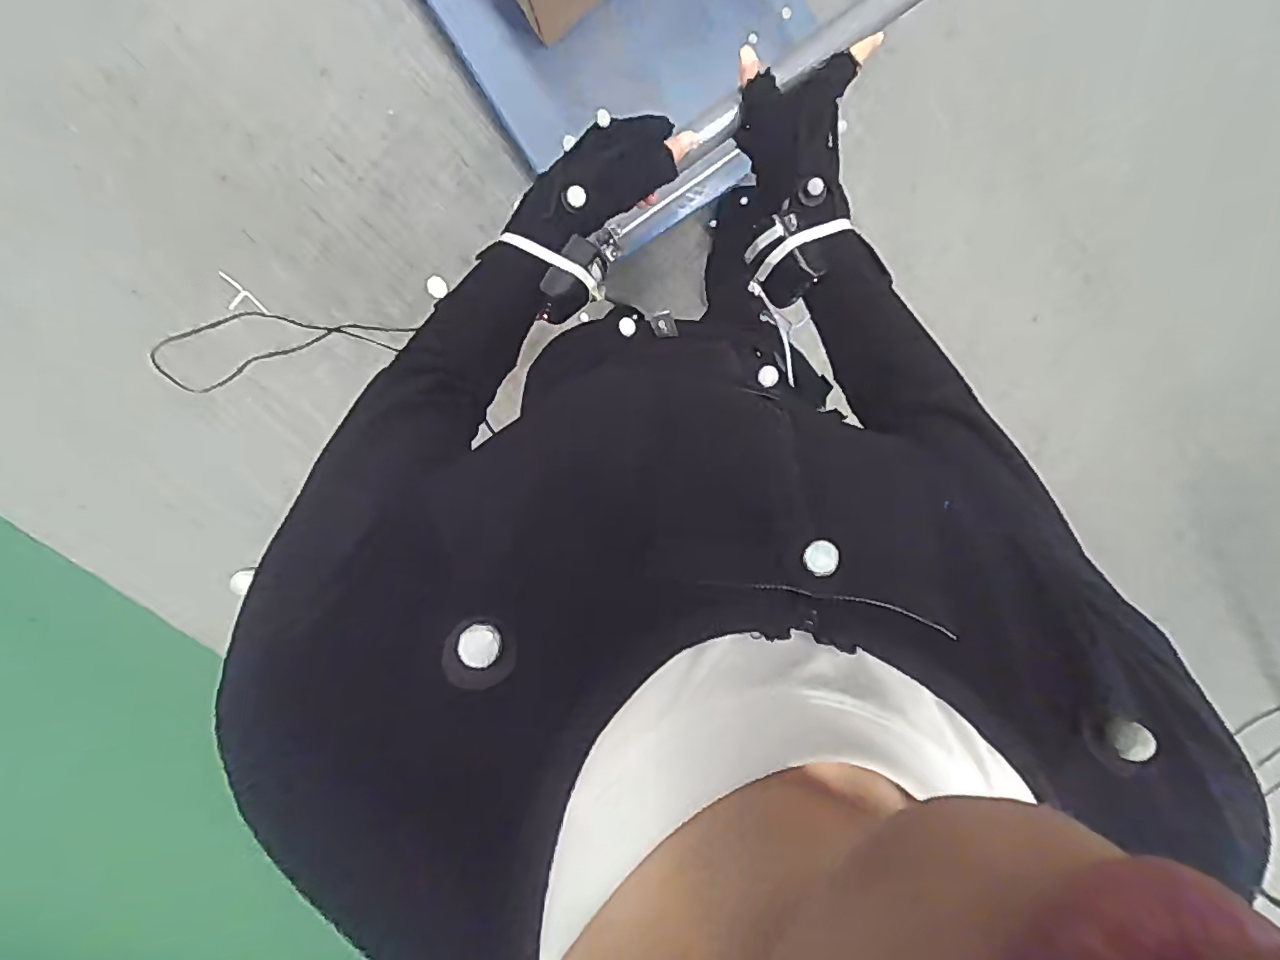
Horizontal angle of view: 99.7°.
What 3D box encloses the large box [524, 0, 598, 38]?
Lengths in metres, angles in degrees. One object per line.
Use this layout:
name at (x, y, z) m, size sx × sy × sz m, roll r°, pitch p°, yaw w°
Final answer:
large box at (-0.080, -0.952, 0.753) m, size 0.408 × 0.320 × 0.320 m, roll -33°, pitch 111°, yaw 13°
